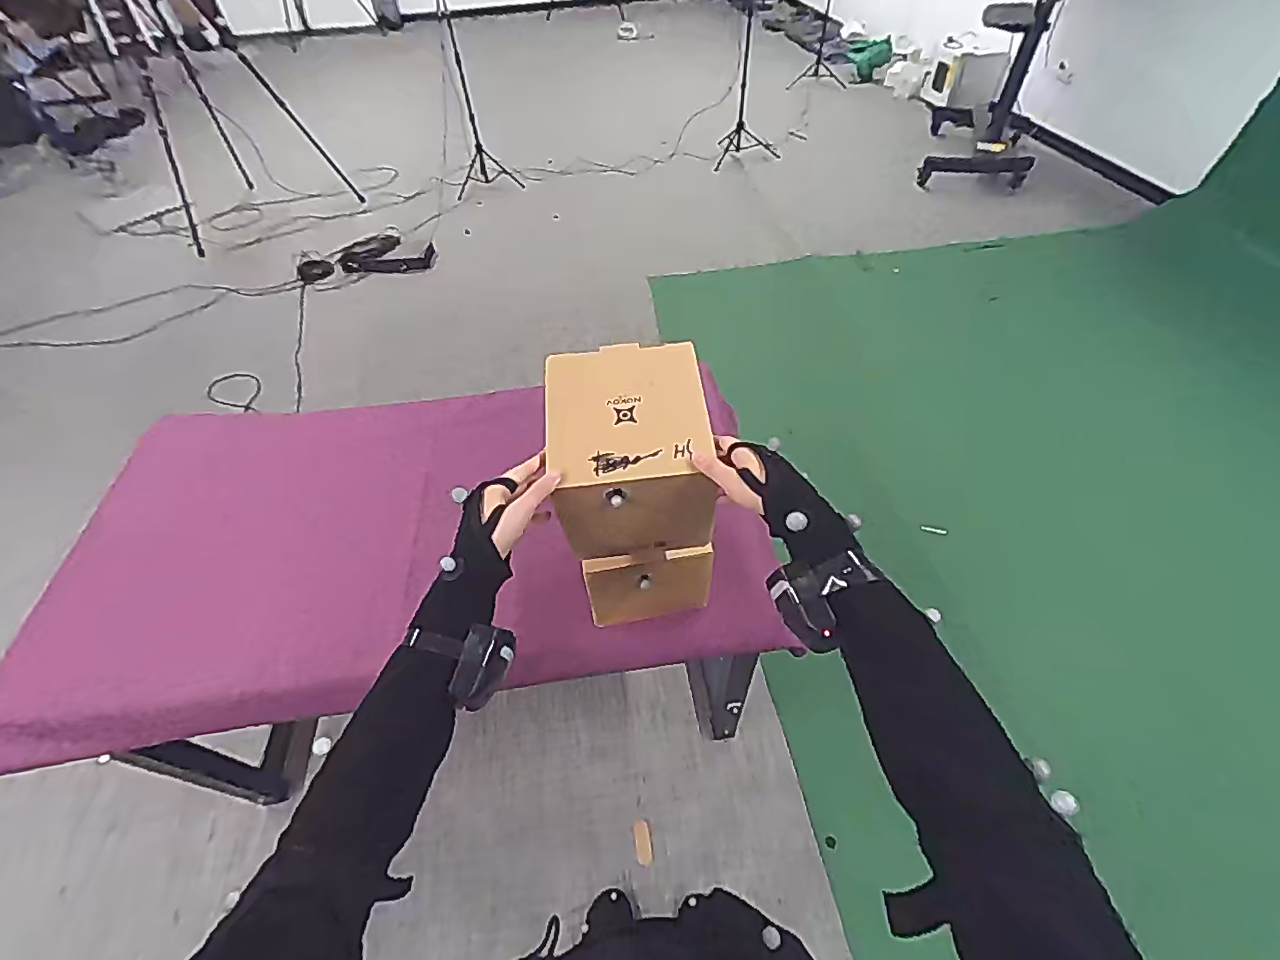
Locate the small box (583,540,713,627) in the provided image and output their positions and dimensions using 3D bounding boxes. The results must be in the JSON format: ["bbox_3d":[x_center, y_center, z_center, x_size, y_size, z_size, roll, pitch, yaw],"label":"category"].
[{"bbox_3d":[0.005,0.105,0.826,0.179,0.176,0.168,-11,51,-3],"label":"small box"}]

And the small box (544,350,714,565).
[{"bbox_3d":[-0.012,-0.021,0.627,0.168,0.176,0.179,-7,56,1],"label":"small box"}]
